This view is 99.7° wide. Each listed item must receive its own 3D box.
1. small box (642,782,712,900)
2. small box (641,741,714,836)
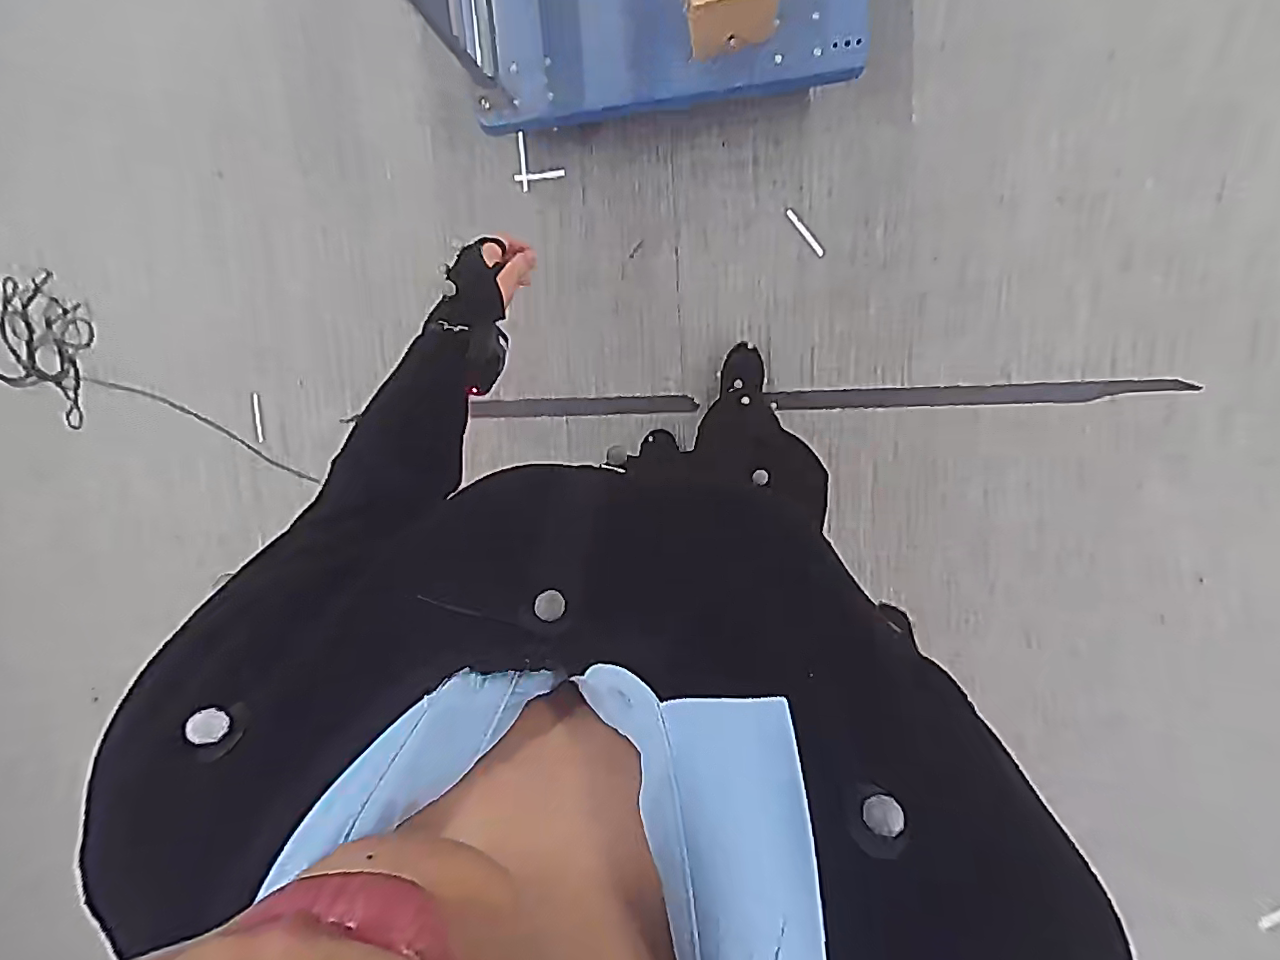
[{"bbox_3d":[0.097,0.897,1.355,0.168,0.176,0.179,-1,98,7],"label":"small box"},{"bbox_3d":[0.109,0.868,1.515,0.168,0.176,0.179,-14,96,8],"label":"small box"}]
